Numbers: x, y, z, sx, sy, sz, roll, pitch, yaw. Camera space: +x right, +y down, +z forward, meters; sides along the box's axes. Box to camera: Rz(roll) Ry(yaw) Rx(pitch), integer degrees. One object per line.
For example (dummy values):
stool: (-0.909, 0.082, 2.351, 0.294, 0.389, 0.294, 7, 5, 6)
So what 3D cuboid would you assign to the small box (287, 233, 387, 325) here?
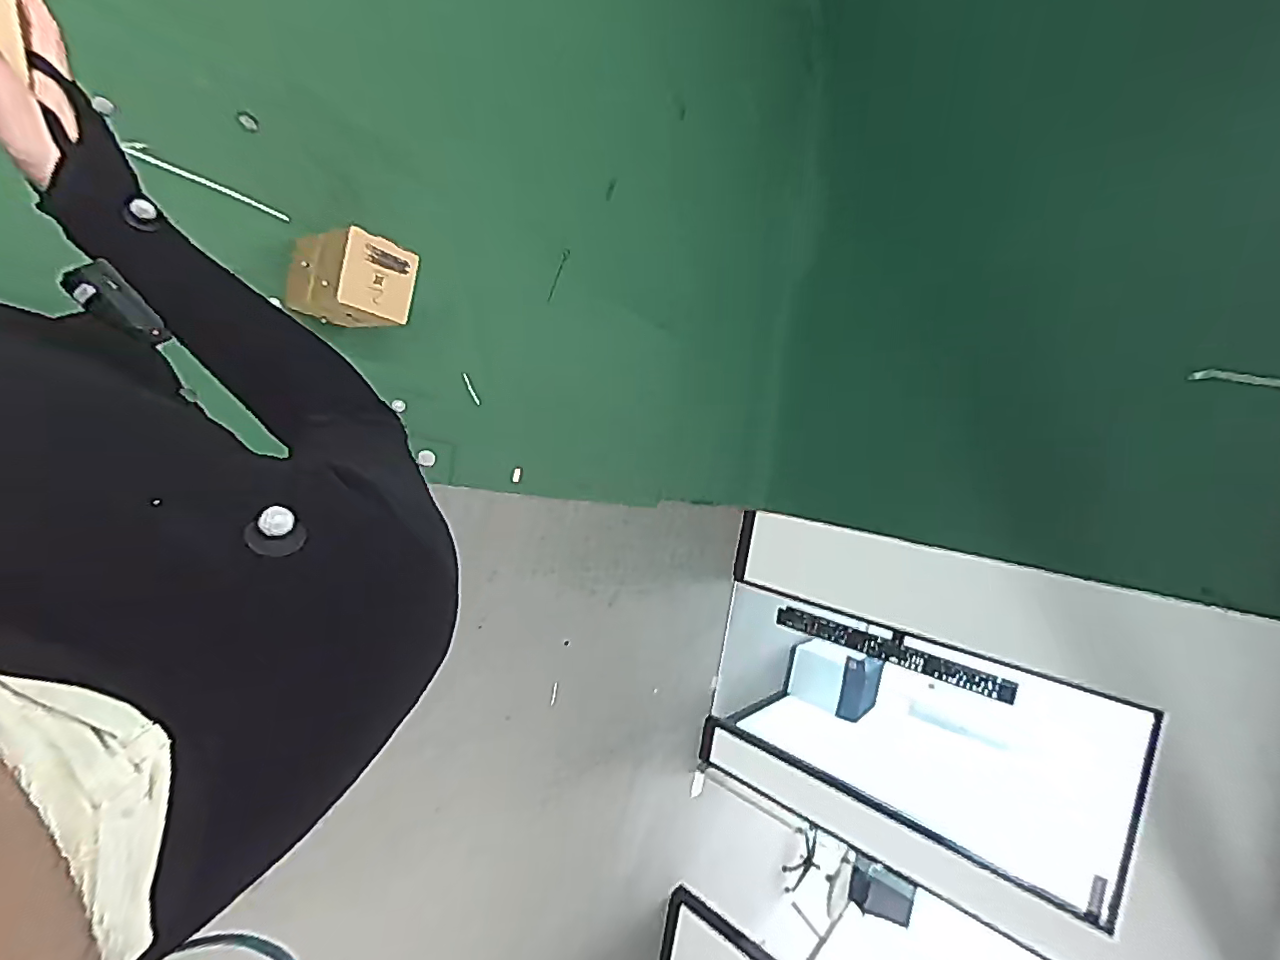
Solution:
small box: (-0.796, -0.518, 1.417, 0.168, 0.176, 0.179, 12, 91, -51)

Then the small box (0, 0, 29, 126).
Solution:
small box: (-0.544, -0.366, 0.352, 0.168, 0.176, 0.179, -13, 113, -48)
